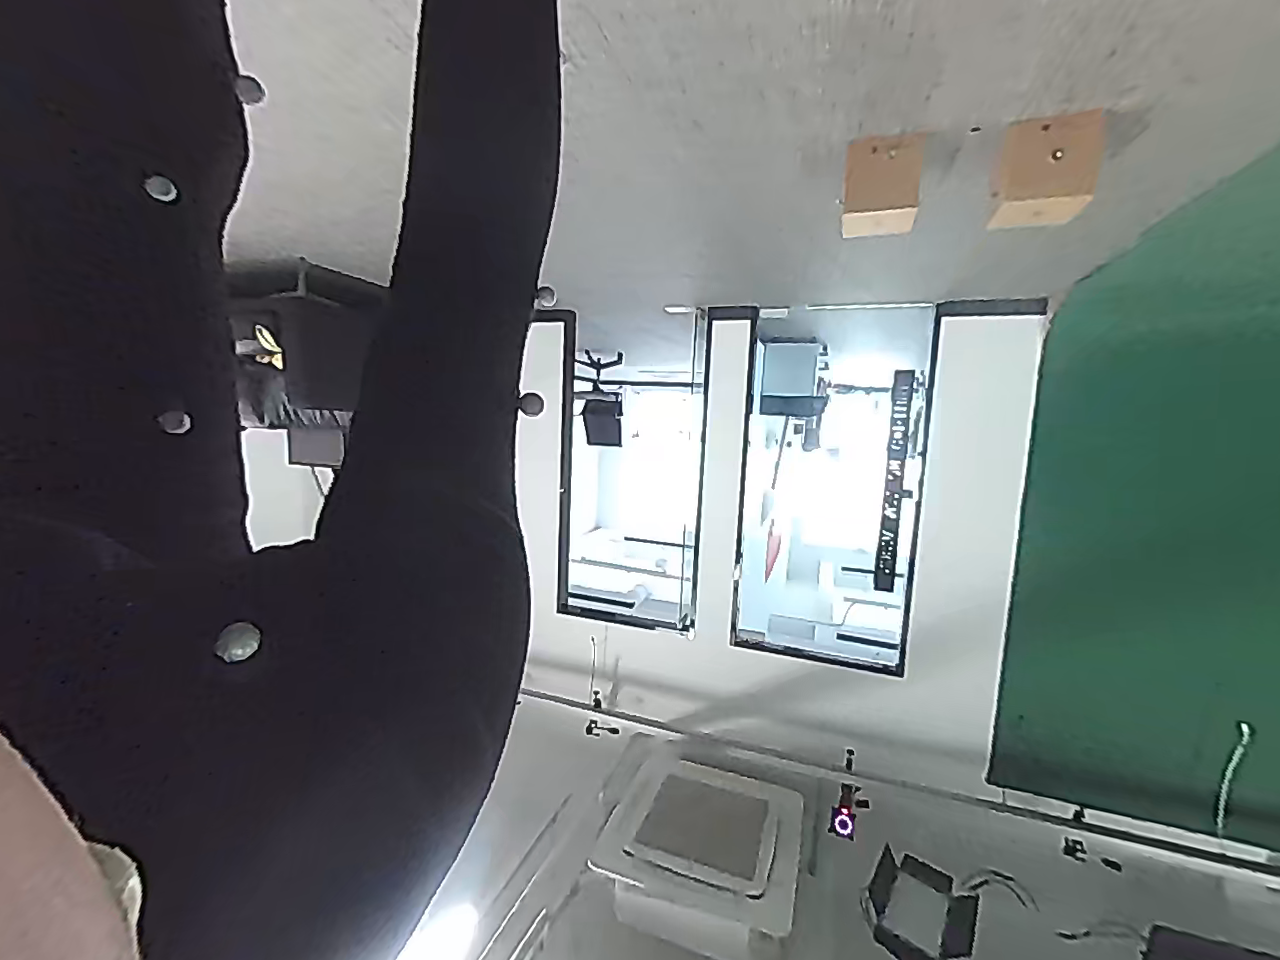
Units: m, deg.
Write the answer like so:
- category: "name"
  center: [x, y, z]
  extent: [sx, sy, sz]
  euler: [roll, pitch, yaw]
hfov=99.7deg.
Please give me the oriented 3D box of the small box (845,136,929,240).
- category: "small box"
  center: [0.594, -0.701, 1.313]
  extent: [0.168, 0.176, 0.179]
  euler: [5, -174, 20]

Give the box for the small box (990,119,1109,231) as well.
- category: "small box"
  center: [0.900, -0.672, 1.197]
  extent: [0.168, 0.176, 0.179]
  euler: [6, -173, 20]
